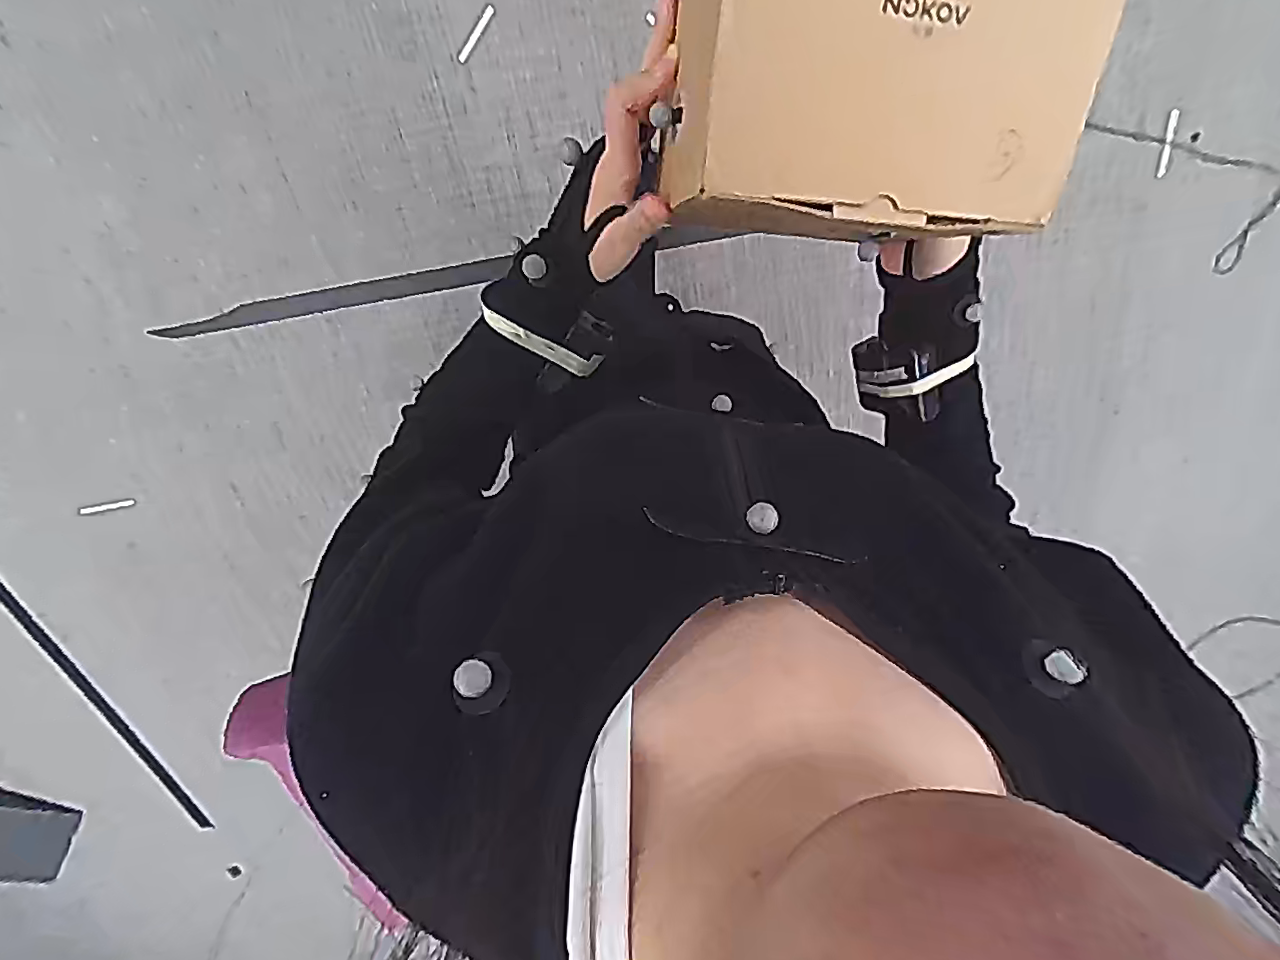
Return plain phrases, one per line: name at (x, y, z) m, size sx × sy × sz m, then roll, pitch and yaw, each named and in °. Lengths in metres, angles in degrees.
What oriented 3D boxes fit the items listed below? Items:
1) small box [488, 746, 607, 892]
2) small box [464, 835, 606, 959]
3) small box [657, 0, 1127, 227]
small box at (-0.151, 0.586, 0.935) m, size 0.168 × 0.176 × 0.179 m, roll -8°, pitch 116°, yaw -1°
small box at (-0.141, 0.660, 0.789) m, size 0.168 × 0.176 × 0.179 m, roll -8°, pitch 115°, yaw -1°
small box at (0.104, -0.233, 0.275) m, size 0.168 × 0.176 × 0.179 m, roll 1°, pitch 111°, yaw -8°
